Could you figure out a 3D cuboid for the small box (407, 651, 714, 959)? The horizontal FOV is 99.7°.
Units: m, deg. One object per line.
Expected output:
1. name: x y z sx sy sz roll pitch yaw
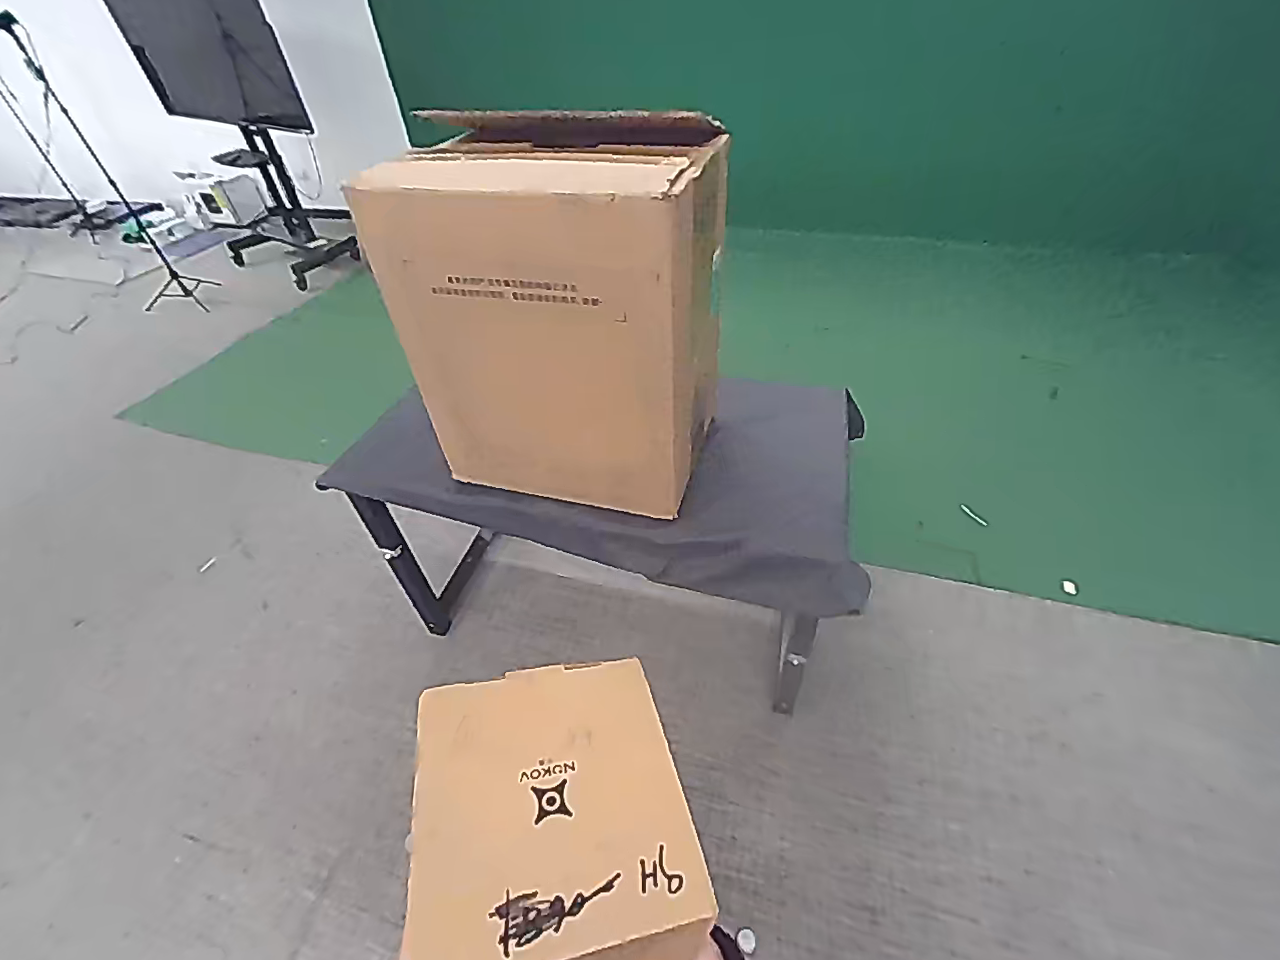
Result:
1. small box: -0.064 0.258 0.394 0.168 0.176 0.179 -4 35 -15
